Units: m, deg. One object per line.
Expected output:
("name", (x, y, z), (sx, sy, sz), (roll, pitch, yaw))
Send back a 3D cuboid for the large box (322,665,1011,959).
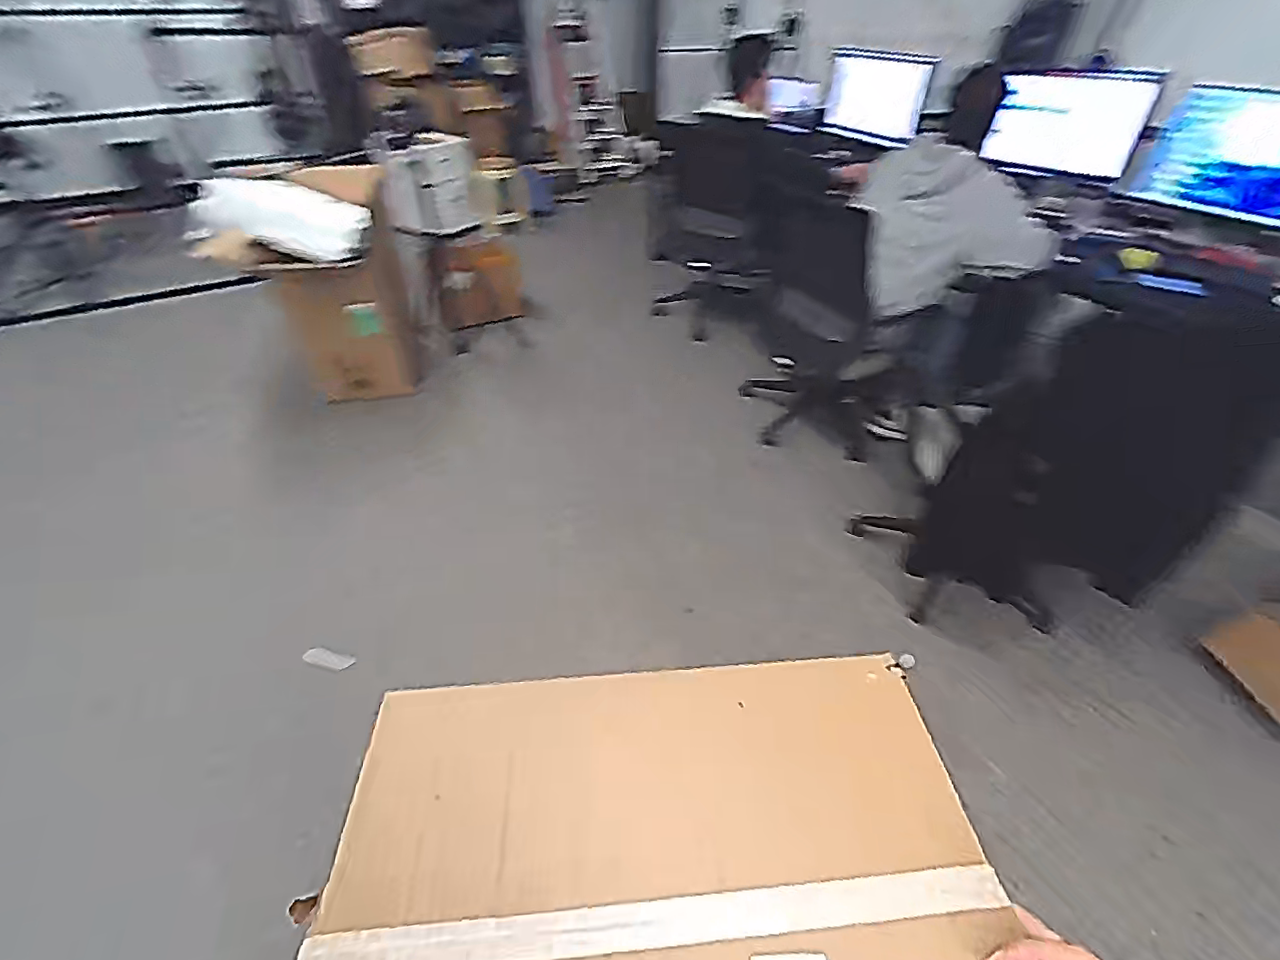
("large box", (0.011, 0.381, 0.416), (0.408, 0.320, 0.320), (-4, 43, -5))
